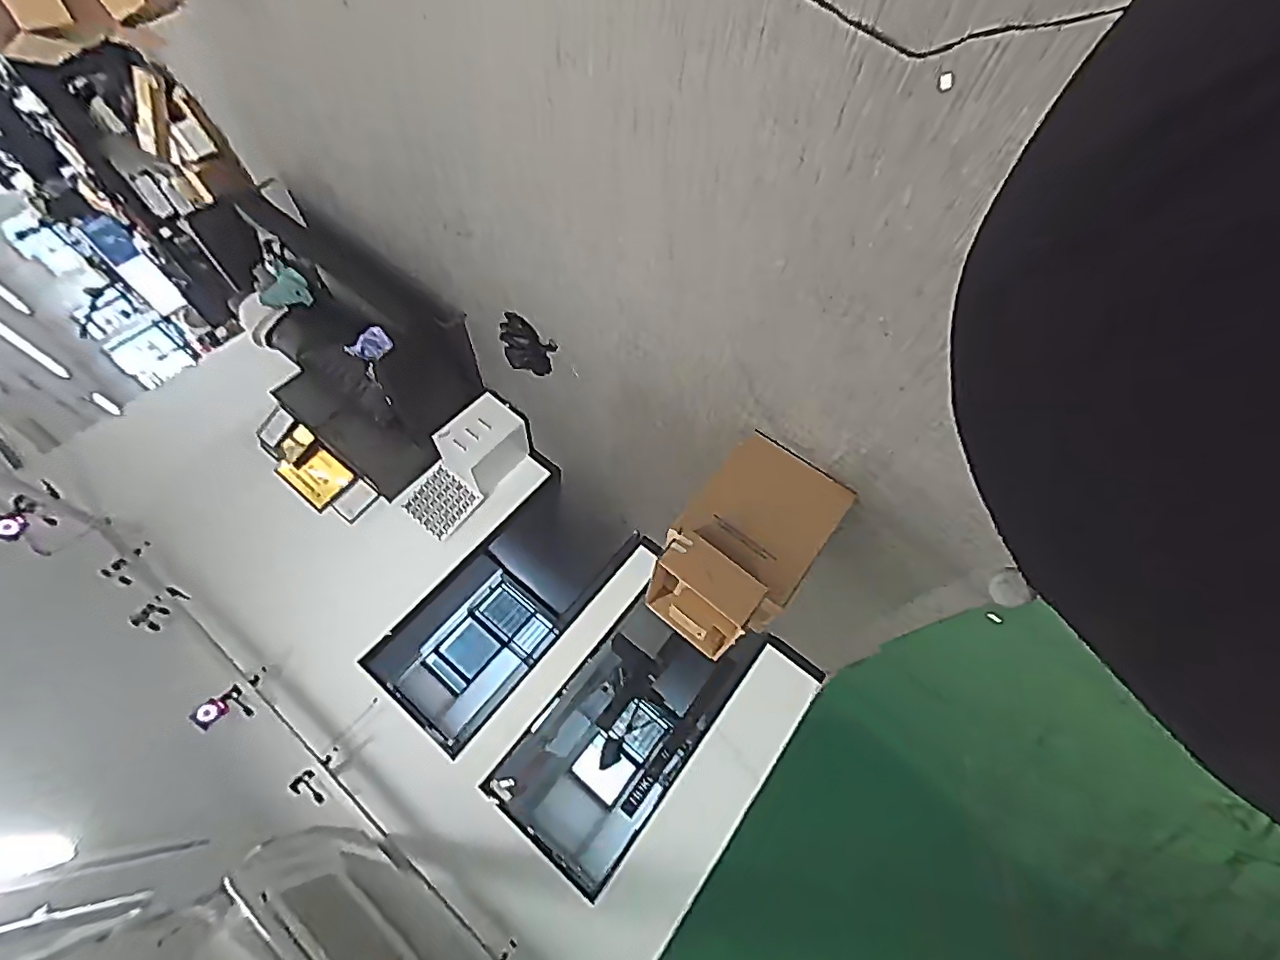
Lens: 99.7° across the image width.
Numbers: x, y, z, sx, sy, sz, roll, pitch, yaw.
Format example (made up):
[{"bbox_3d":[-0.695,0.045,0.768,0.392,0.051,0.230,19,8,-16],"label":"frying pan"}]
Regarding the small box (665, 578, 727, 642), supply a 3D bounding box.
[{"bbox_3d":[0.223,0.518,2.180,0.179,0.176,0.168,37,157,17],"label":"small box"}]
